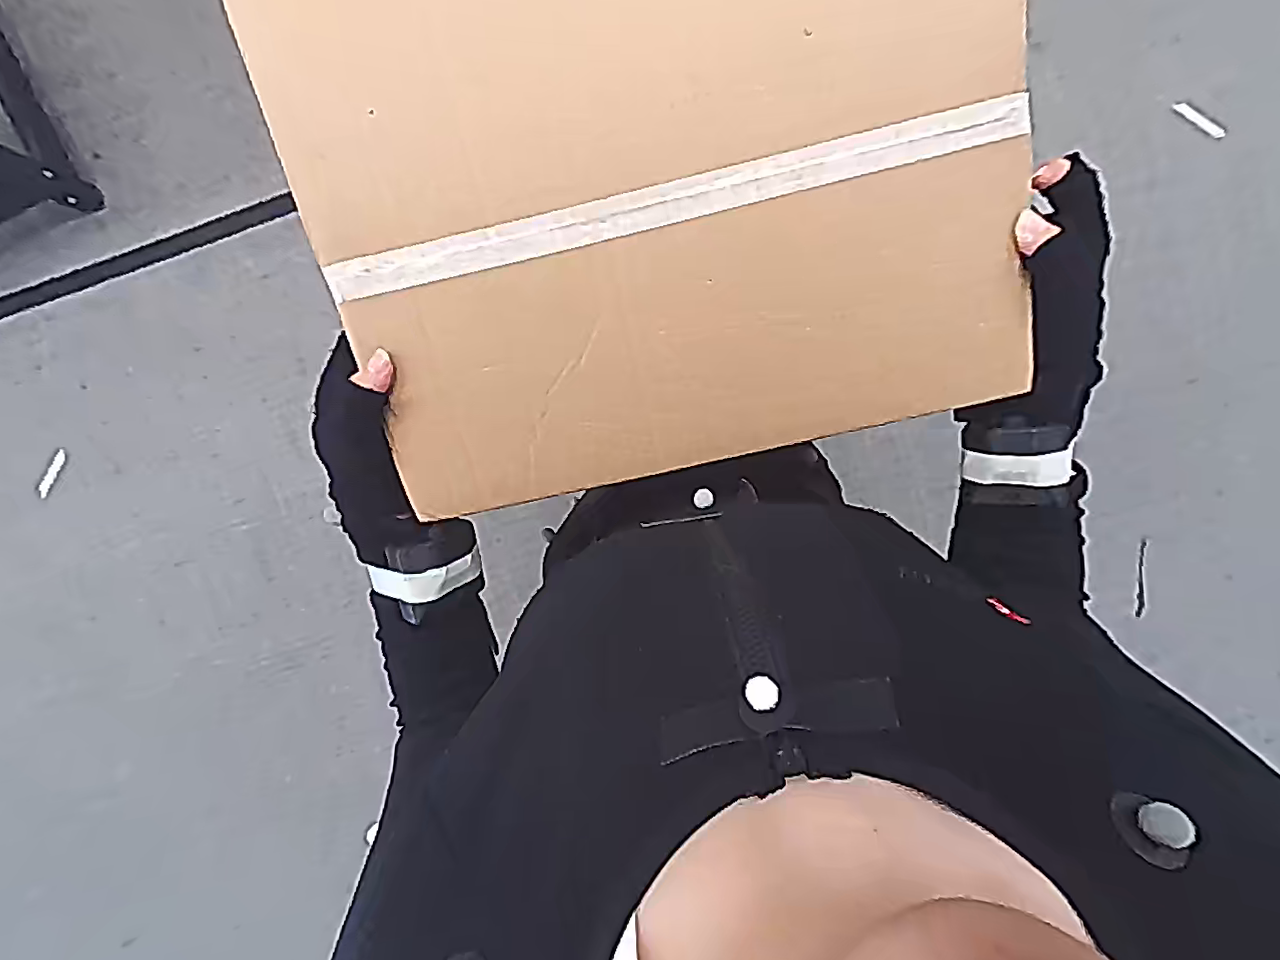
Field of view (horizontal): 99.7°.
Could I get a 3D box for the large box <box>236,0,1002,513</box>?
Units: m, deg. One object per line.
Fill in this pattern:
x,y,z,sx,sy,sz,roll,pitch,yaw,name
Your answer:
0.010,-0.208,0.460,0.408,0.320,0.320,-13,107,3,large box
